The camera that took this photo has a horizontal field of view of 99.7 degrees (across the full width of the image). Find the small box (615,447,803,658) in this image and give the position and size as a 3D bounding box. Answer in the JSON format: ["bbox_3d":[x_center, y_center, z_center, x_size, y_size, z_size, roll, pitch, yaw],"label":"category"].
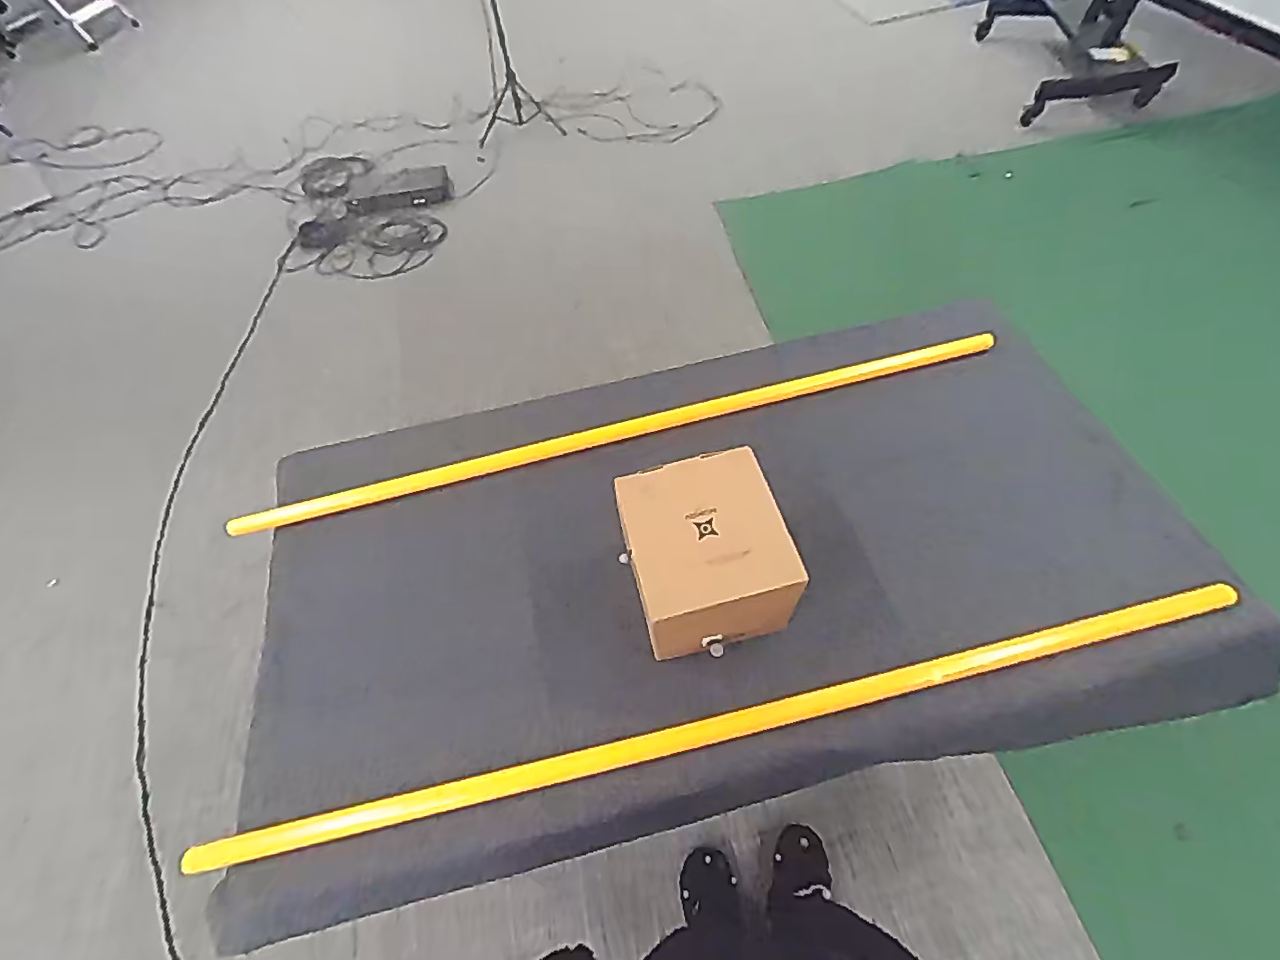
[{"bbox_3d":[0.072,0.092,0.651,0.168,0.176,0.179,-15,59,-4],"label":"small box"}]
